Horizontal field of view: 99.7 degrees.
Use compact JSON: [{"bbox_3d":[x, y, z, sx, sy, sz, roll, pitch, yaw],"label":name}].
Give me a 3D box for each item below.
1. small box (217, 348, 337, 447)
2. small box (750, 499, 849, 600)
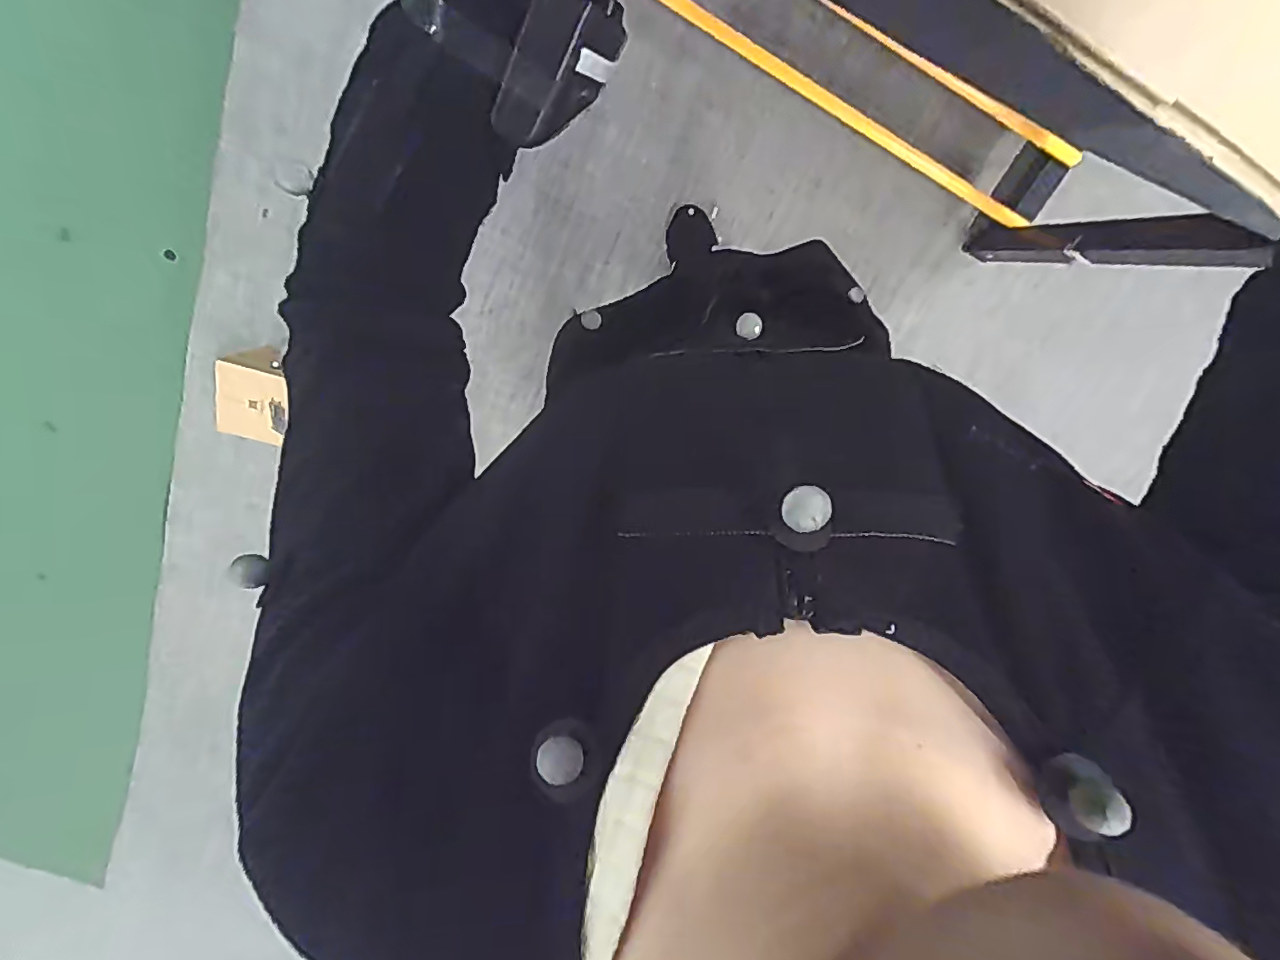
[{"bbox_3d":[-0.830,-0.197,1.250,0.179,0.176,0.168,15,112,-5],"label":"small box"},{"bbox_3d":[0.400,0.173,1.399,0.168,0.176,0.179,19,111,-8],"label":"small box"}]
